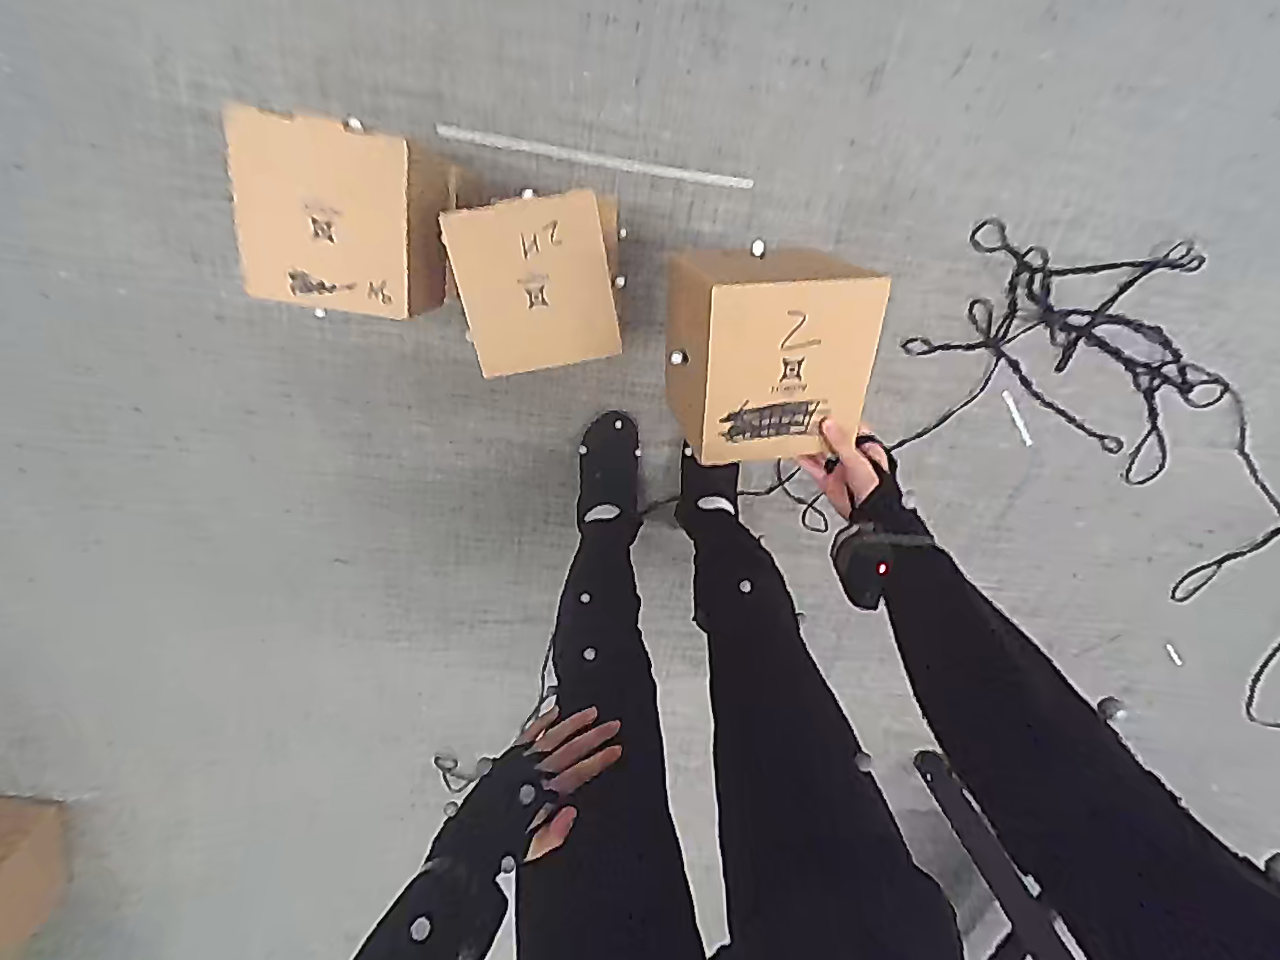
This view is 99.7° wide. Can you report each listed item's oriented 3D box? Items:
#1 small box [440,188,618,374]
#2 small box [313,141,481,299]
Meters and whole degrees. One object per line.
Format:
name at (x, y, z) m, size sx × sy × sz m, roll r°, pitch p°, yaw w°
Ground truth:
small box at (-0.120, -0.244, 0.664) m, size 0.168 × 0.176 × 0.179 m, roll -10°, pitch 113°, yaw 0°
small box at (-0.331, -0.363, 0.772) m, size 0.179 × 0.176 × 0.168 m, roll 6°, pitch 112°, yaw -7°
